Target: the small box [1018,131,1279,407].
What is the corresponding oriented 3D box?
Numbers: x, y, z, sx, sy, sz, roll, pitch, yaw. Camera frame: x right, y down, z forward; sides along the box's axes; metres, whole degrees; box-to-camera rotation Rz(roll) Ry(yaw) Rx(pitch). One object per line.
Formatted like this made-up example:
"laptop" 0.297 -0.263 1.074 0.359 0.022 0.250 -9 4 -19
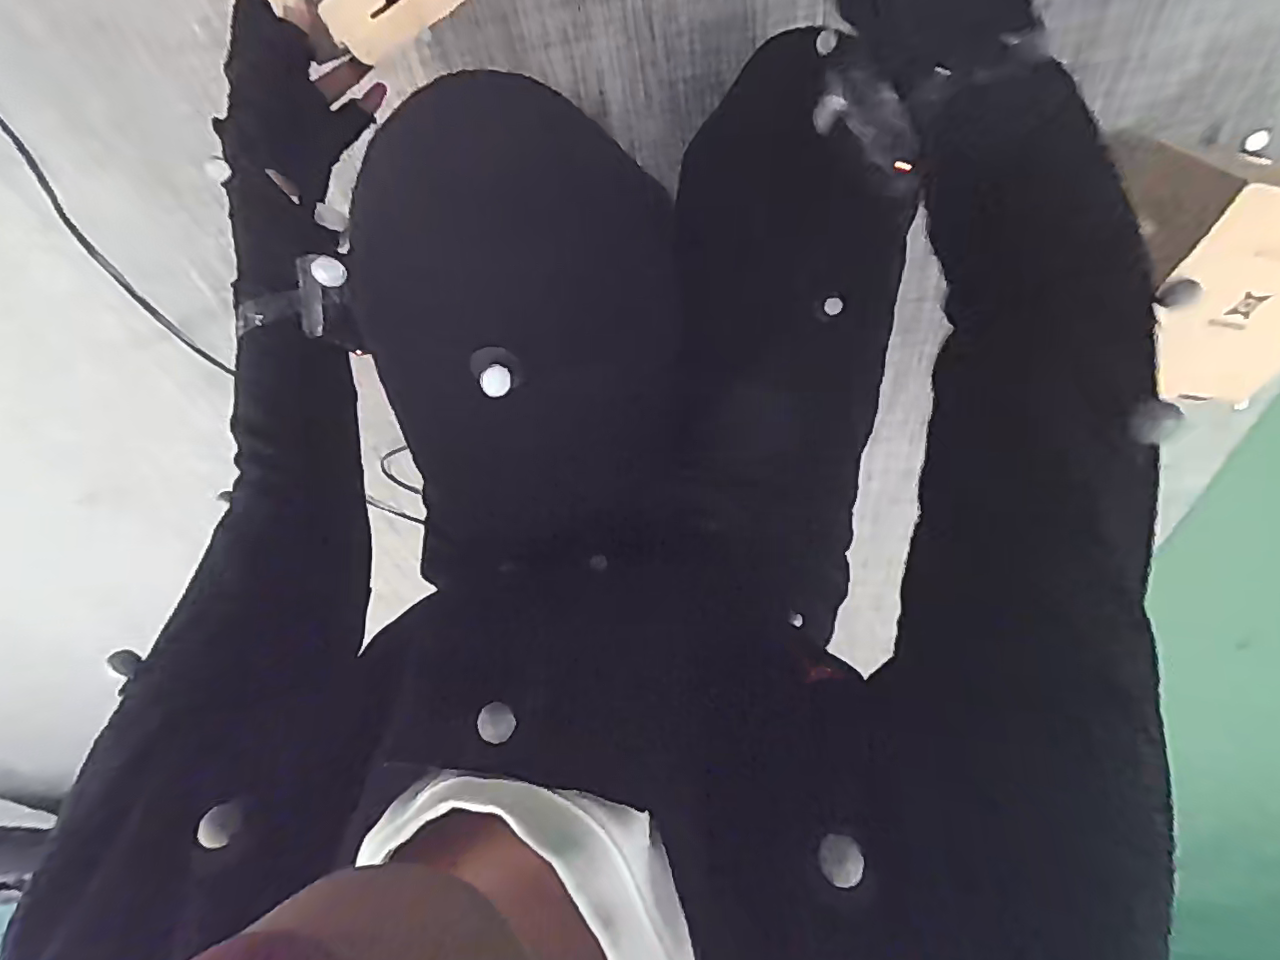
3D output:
"small box" 0.506 -0.200 0.515 0.168 0.176 0.179 9 135 -3
